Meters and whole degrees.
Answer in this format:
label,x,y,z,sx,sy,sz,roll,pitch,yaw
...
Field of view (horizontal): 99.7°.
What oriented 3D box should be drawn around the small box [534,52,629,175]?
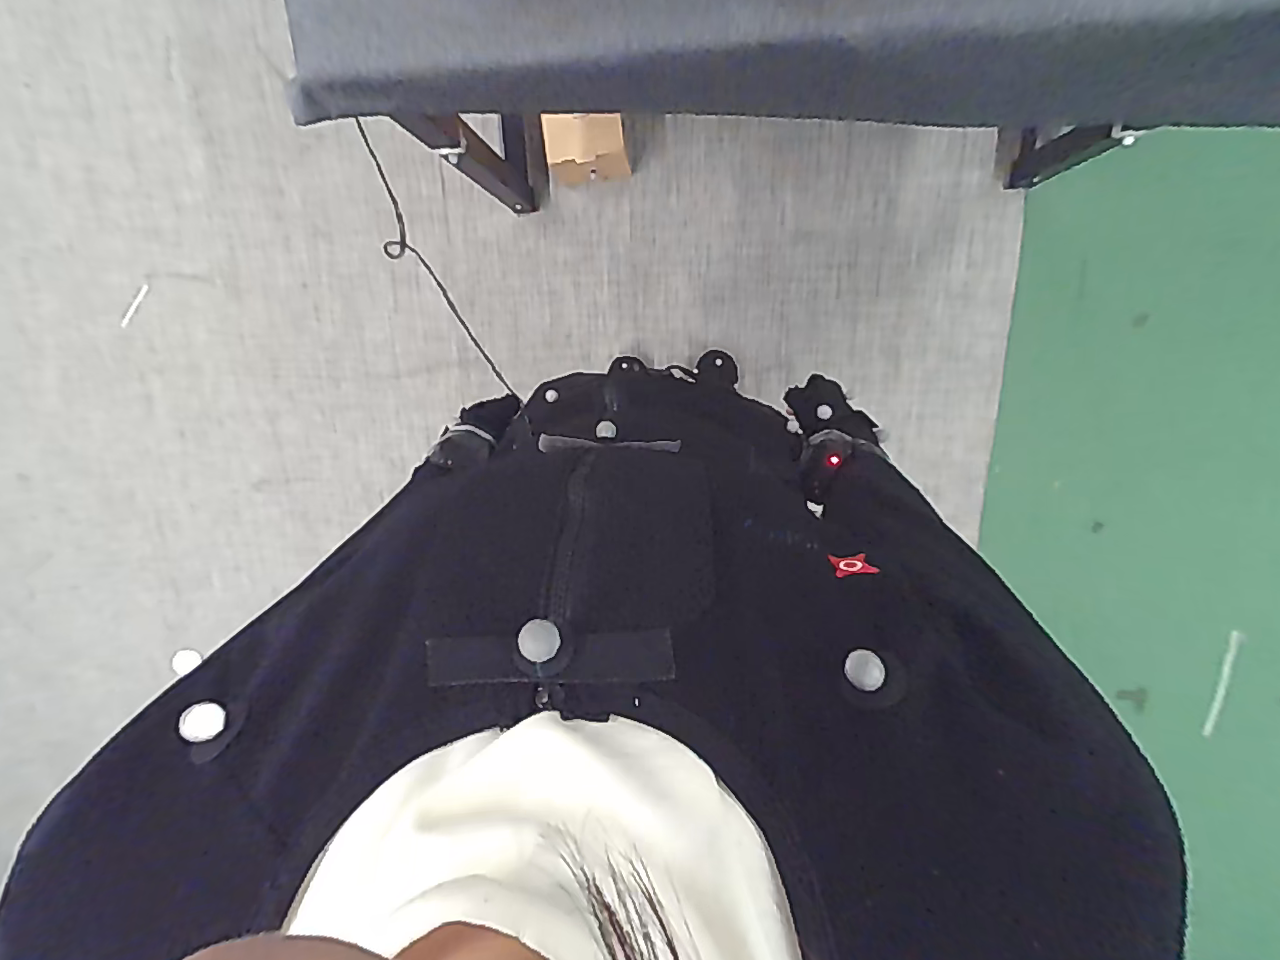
label,x,y,z,sx,sy,sz,roll,pitch,yaw
small box,-0.119,-0.783,1.177,0.168,0.176,0.179,-5,105,5
